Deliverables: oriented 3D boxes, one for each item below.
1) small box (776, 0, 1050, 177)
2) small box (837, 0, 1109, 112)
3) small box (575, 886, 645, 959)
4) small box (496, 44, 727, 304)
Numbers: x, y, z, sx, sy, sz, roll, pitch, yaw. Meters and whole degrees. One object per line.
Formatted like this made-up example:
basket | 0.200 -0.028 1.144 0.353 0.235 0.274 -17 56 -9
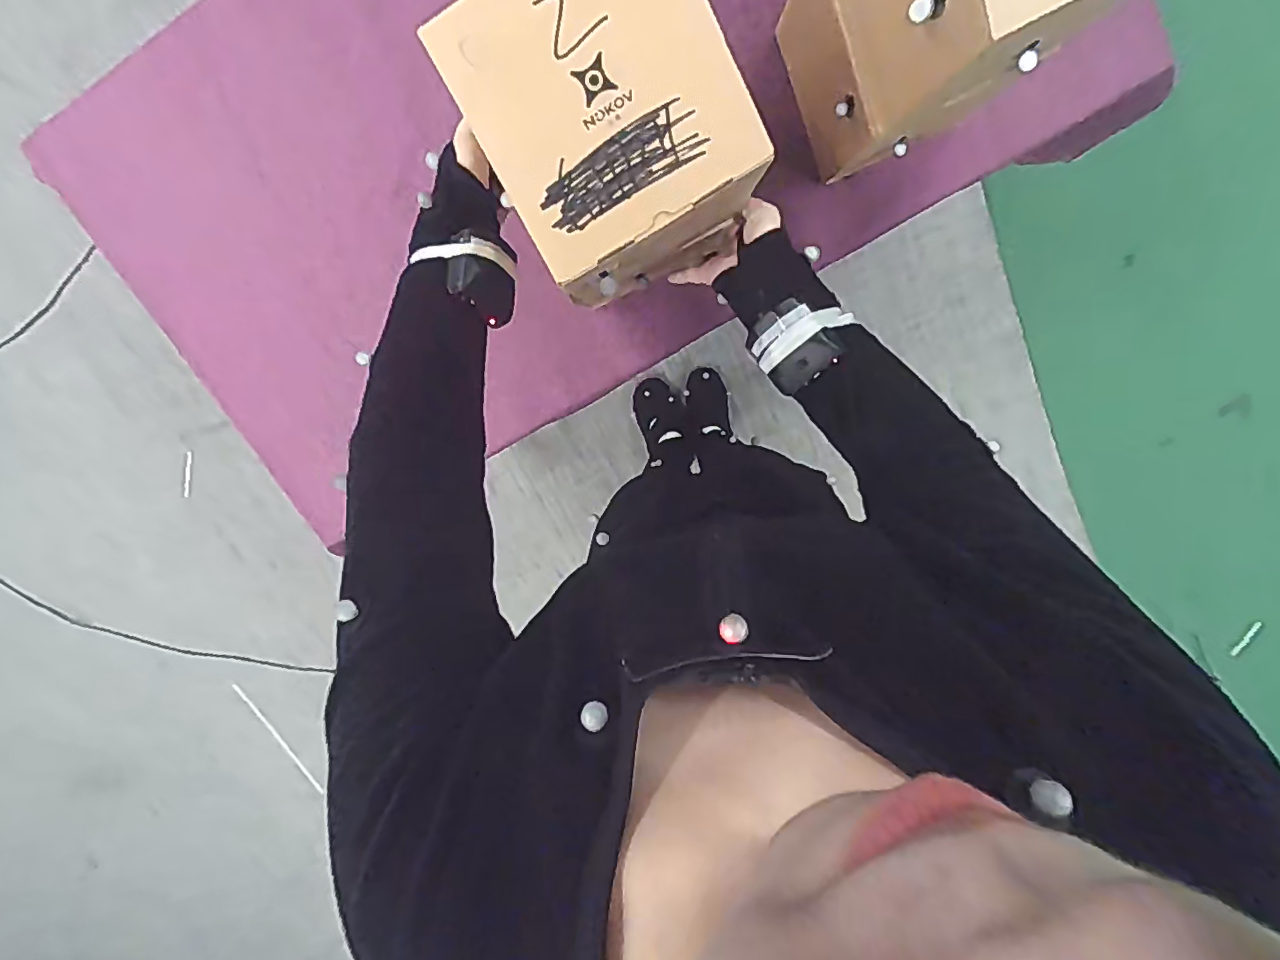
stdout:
small box | 0.253 -0.444 0.541 0.168 0.176 0.179 -23 104 7
small box | 0.250 -0.400 0.382 0.168 0.176 0.179 -24 103 7
small box | -0.094 1.539 1.834 0.168 0.176 0.179 -44 99 11
small box | -0.021 -0.304 0.586 0.179 0.176 0.168 -24 103 9
